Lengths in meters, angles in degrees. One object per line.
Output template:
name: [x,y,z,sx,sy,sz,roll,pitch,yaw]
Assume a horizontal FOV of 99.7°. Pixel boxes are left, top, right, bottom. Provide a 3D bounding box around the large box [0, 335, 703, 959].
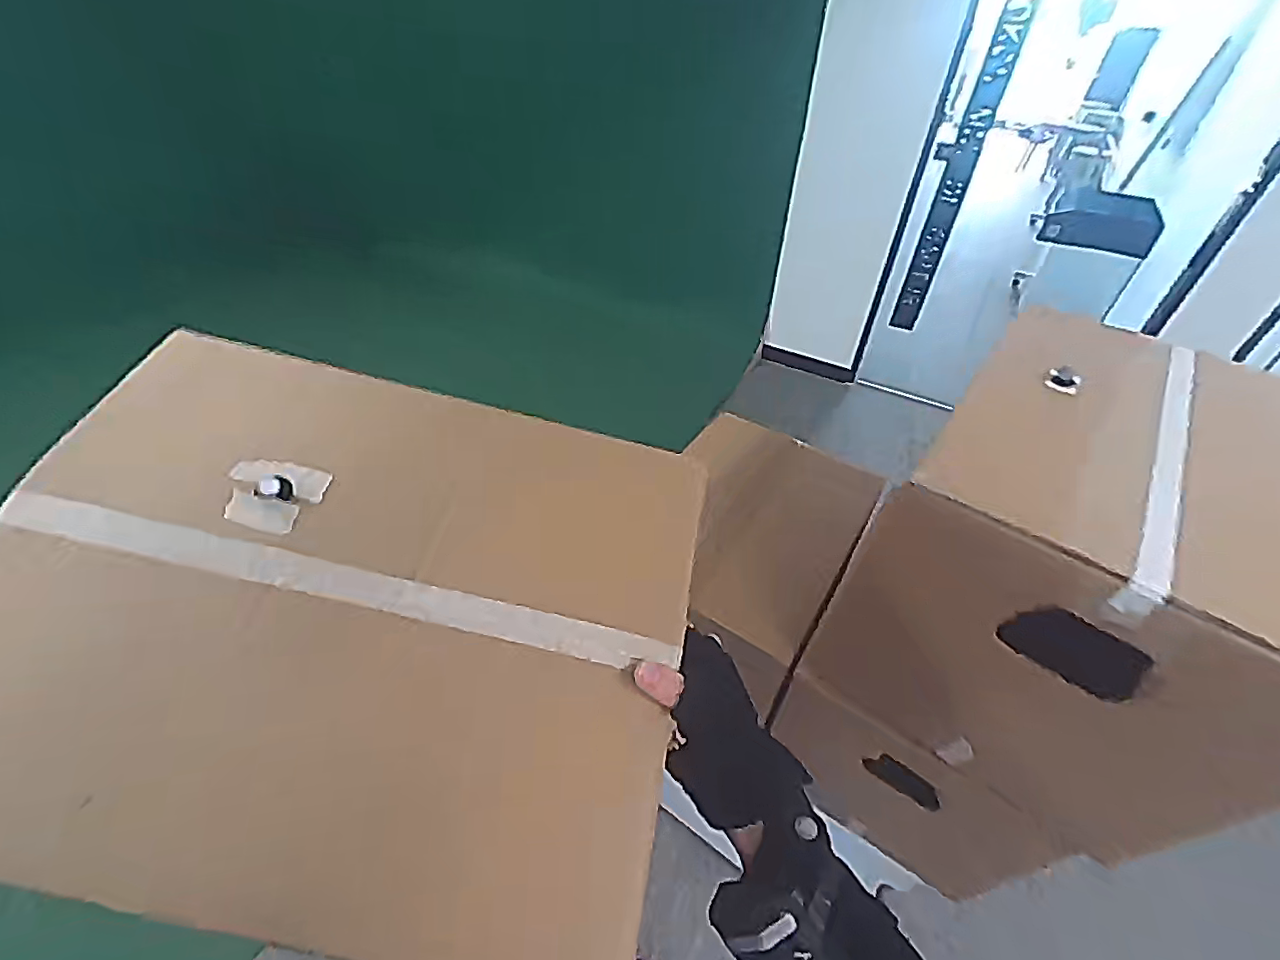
large box: [-0.189,0.137,0.450,0.408,0.320,0.320,14,57,1]
